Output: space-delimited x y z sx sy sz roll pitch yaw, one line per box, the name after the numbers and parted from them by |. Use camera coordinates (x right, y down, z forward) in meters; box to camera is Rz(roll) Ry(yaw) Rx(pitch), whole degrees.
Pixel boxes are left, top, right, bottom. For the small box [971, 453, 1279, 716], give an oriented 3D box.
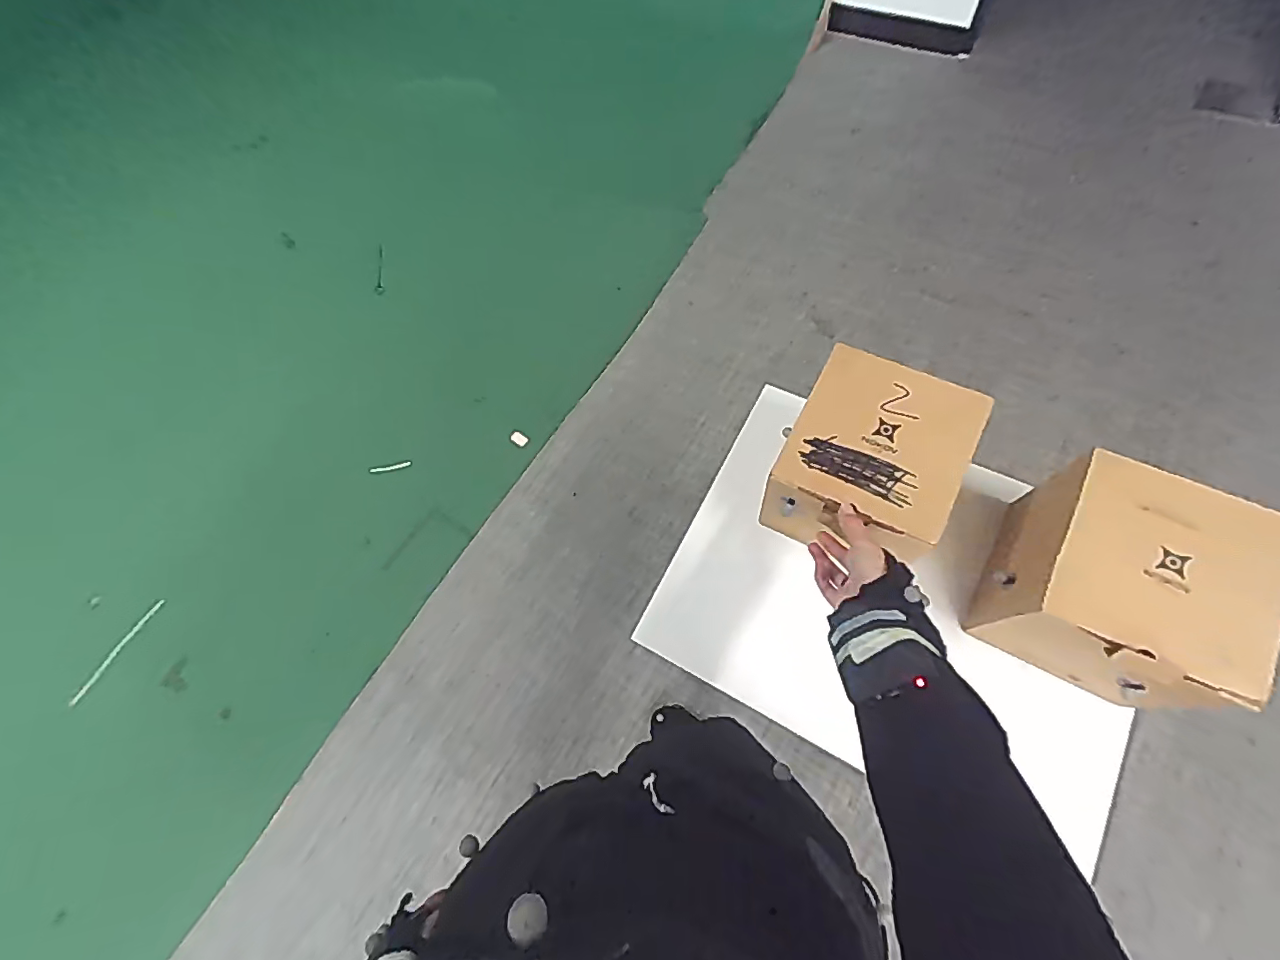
0.464 0.109 0.536 0.168 0.176 0.179 26 73 16 | small box
